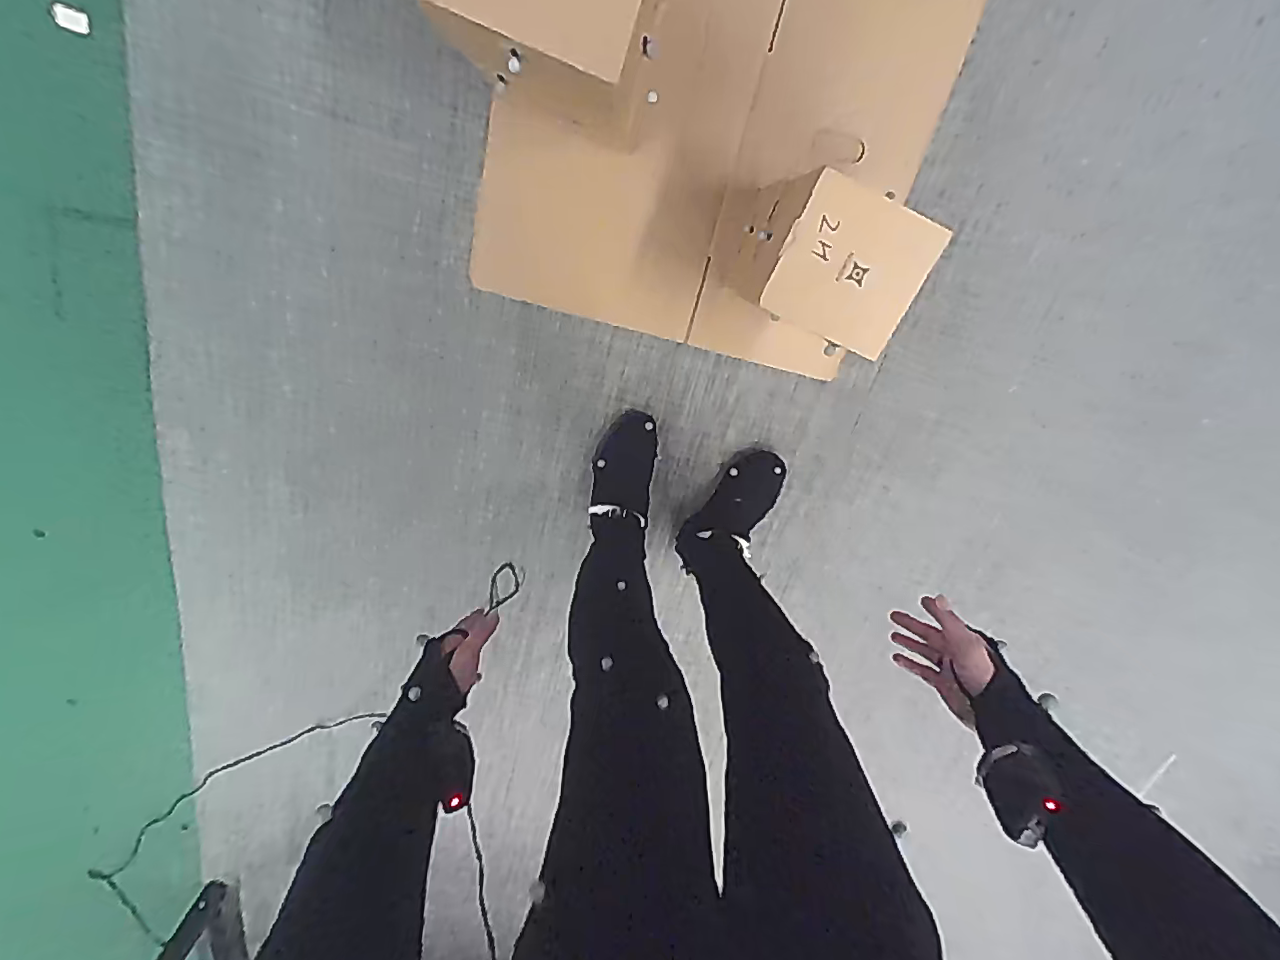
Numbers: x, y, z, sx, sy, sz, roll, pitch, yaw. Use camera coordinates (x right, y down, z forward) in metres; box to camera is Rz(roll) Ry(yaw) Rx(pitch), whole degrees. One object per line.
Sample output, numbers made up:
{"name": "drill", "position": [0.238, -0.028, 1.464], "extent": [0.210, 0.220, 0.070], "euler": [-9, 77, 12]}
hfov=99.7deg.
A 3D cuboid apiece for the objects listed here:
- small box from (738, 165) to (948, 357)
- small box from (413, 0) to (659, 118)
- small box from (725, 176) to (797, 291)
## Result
{"name": "small box", "position": [0.251, -0.288, 0.719], "extent": [0.179, 0.176, 0.168], "euler": [22, 112, -8]}
{"name": "small box", "position": [-0.076, -0.447, 0.470], "extent": [0.179, 0.176, 0.168], "euler": [19, 114, -8]}
{"name": "small box", "position": [0.254, -0.362, 0.866], "extent": [0.179, 0.176, 0.168], "euler": [19, 112, -7]}
